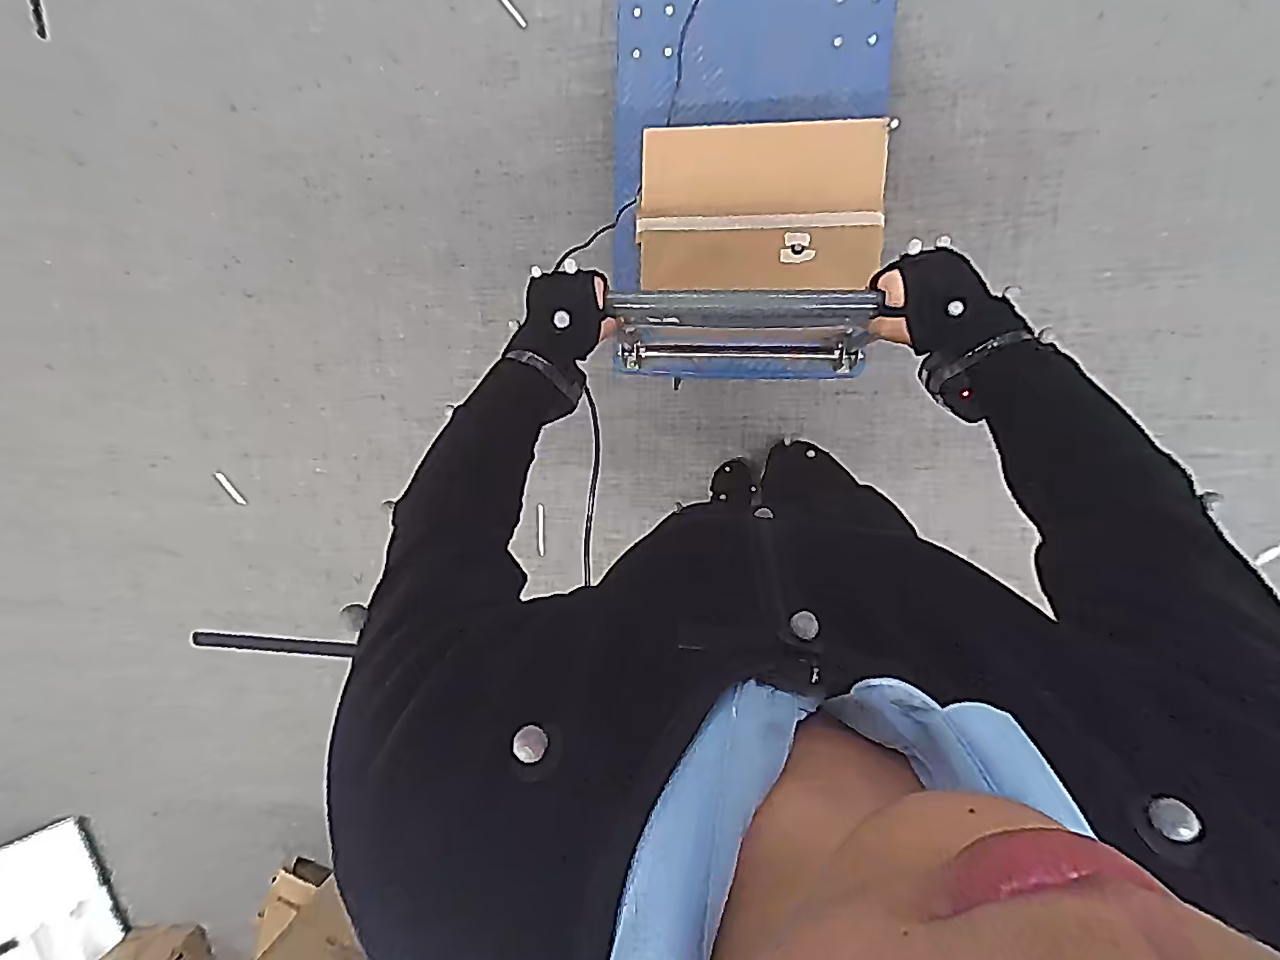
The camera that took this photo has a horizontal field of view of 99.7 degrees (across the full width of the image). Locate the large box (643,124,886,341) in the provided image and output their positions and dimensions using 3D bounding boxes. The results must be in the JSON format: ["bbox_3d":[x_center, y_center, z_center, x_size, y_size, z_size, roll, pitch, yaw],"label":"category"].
[{"bbox_3d":[0.219,-0.452,1.068,0.408,0.320,0.320,2,99,7],"label":"large box"}]
